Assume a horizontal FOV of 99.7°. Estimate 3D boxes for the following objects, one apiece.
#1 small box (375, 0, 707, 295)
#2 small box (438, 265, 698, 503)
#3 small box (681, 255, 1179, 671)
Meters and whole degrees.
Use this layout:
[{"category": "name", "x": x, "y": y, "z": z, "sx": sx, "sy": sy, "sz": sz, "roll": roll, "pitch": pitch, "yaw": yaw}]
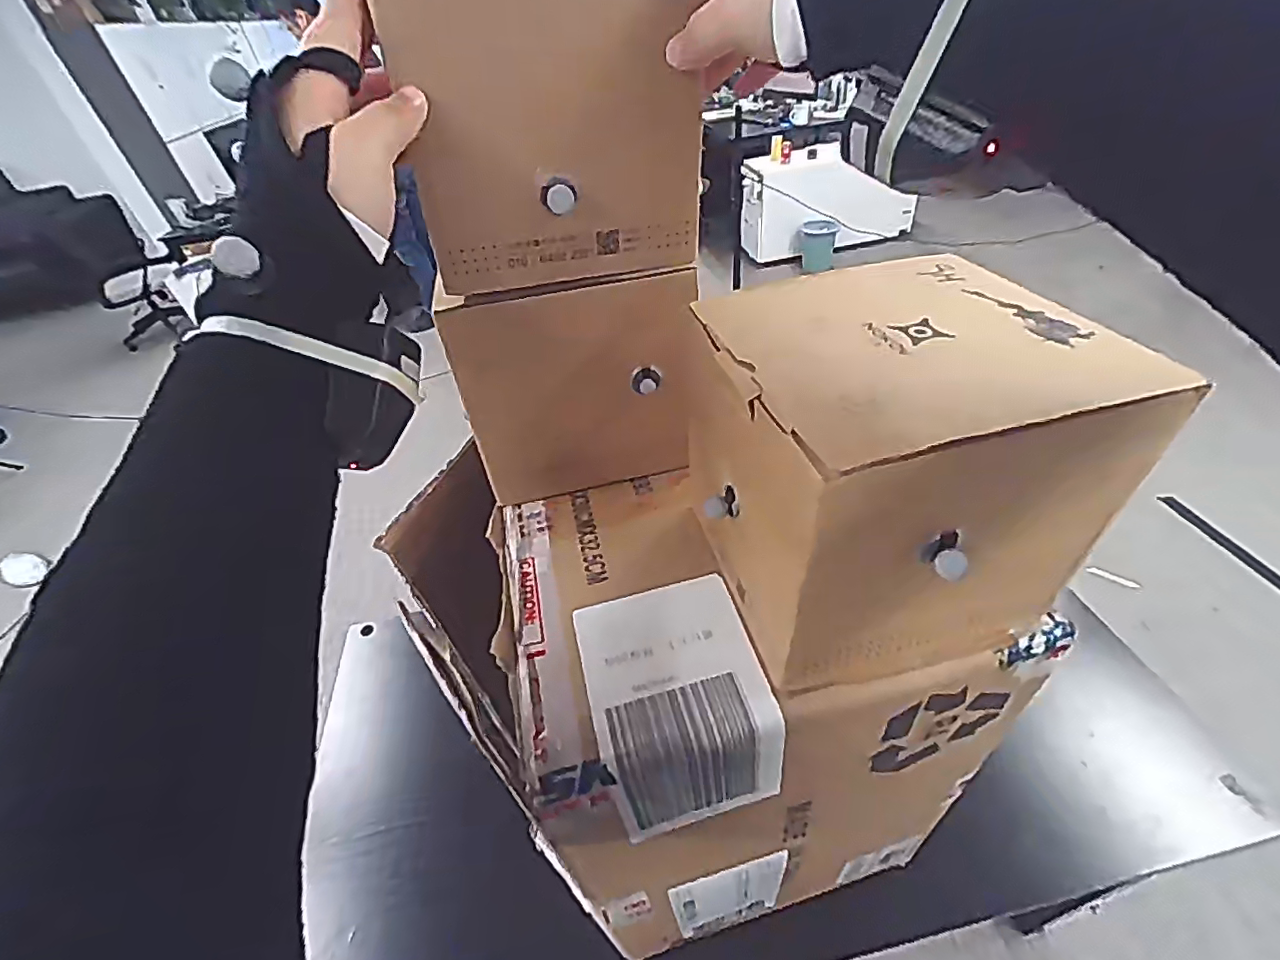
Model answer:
[{"category": "small box", "x": -0.066, "y": -0.241, "z": 0.361, "sx": 0.168, "sy": 0.176, "sz": 0.179, "roll": -12, "pitch": 43, "yaw": -11}, {"category": "small box", "x": -0.056, "y": -0.105, "z": 0.465, "sx": 0.179, "sy": 0.176, "sz": 0.168, "roll": -14, "pitch": 39, "yaw": -7}, {"category": "small box", "x": 0.135, "y": -0.010, "z": 0.329, "sx": 0.179, "sy": 0.176, "sz": 0.168, "roll": -14, "pitch": 44, "yaw": -7}]
